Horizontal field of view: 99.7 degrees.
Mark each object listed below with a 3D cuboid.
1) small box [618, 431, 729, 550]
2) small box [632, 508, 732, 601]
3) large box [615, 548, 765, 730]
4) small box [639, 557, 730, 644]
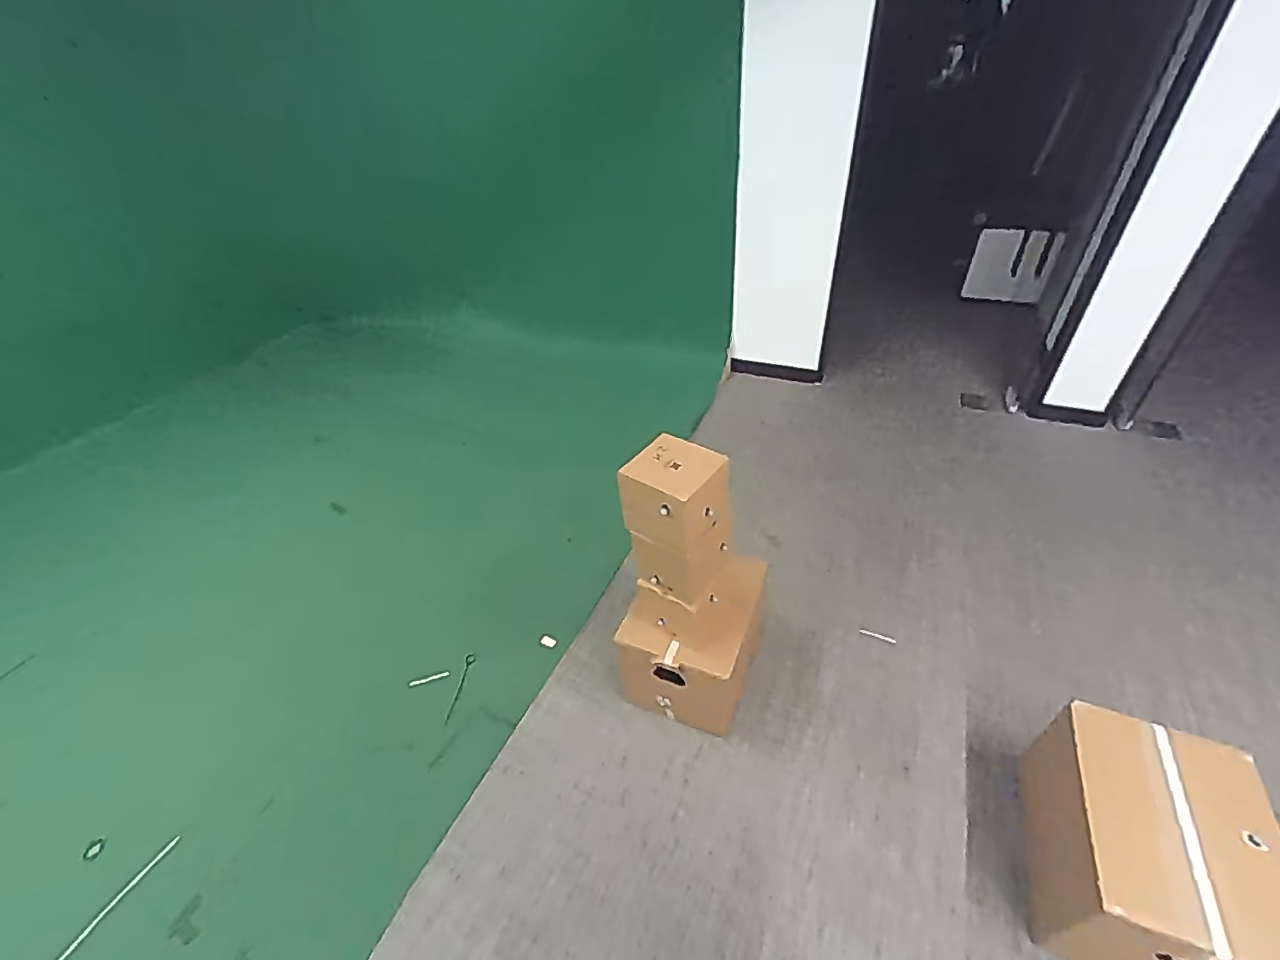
[{"bbox_3d":[0.078,0.026,1.177,0.179,0.176,0.168,24,49,31],"label":"small box"},{"bbox_3d":[0.102,0.149,1.283,0.168,0.176,0.179,24,50,31],"label":"small box"},{"bbox_3d":[0.160,0.431,1.572,0.320,0.320,0.408,13,43,20],"label":"large box"},{"bbox_3d":[0.115,0.279,1.381,0.168,0.176,0.179,21,48,28],"label":"small box"}]
